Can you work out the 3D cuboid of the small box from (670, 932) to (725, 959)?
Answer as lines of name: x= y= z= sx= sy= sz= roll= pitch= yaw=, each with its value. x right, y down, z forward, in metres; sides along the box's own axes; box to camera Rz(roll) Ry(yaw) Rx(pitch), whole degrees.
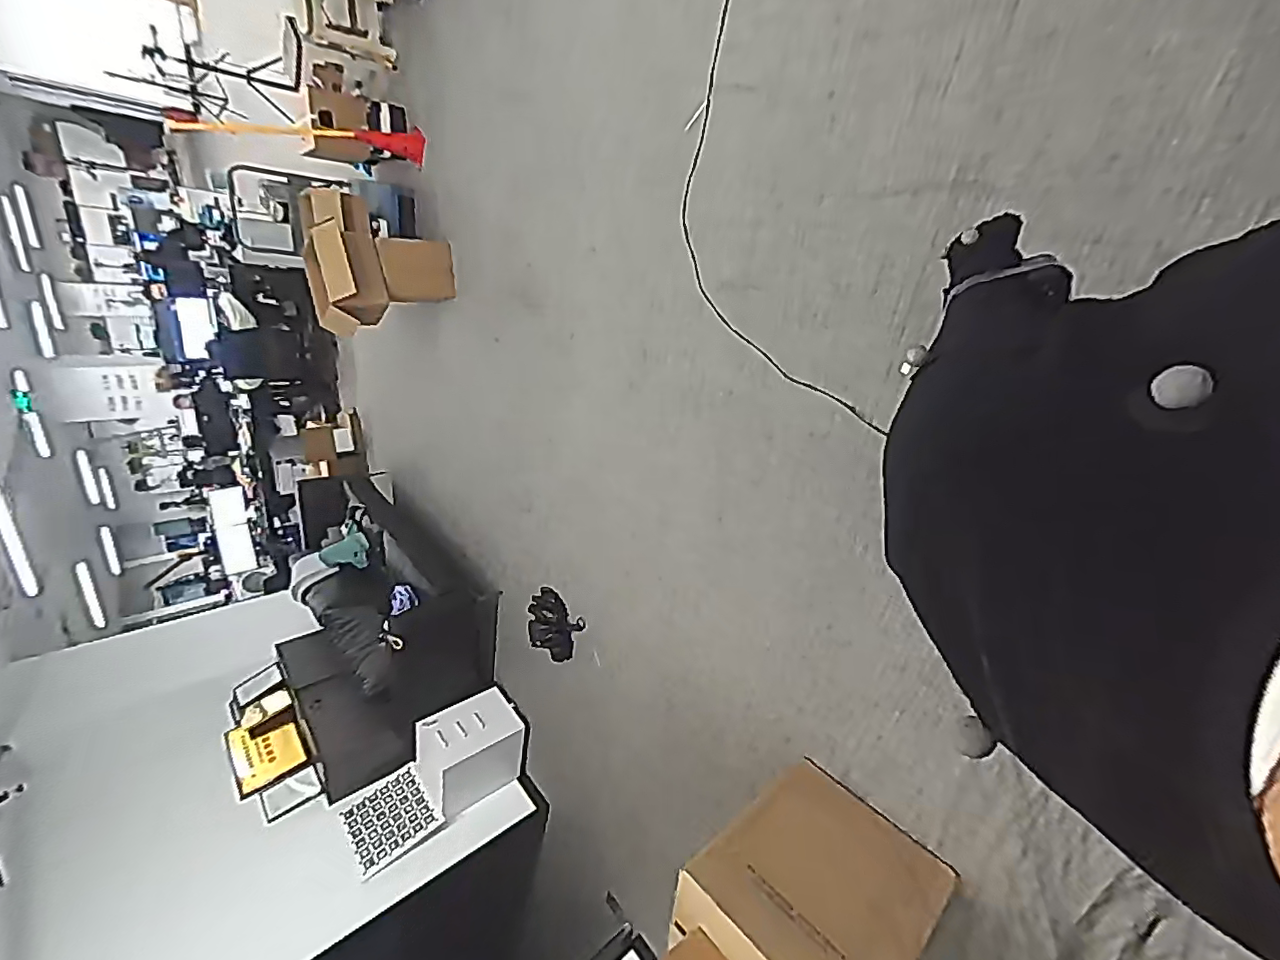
small box: x=0.152 y=1.337 z=1.394 sx=0.179 sy=0.176 sz=0.168 roll=22 pitch=106 yaw=45
